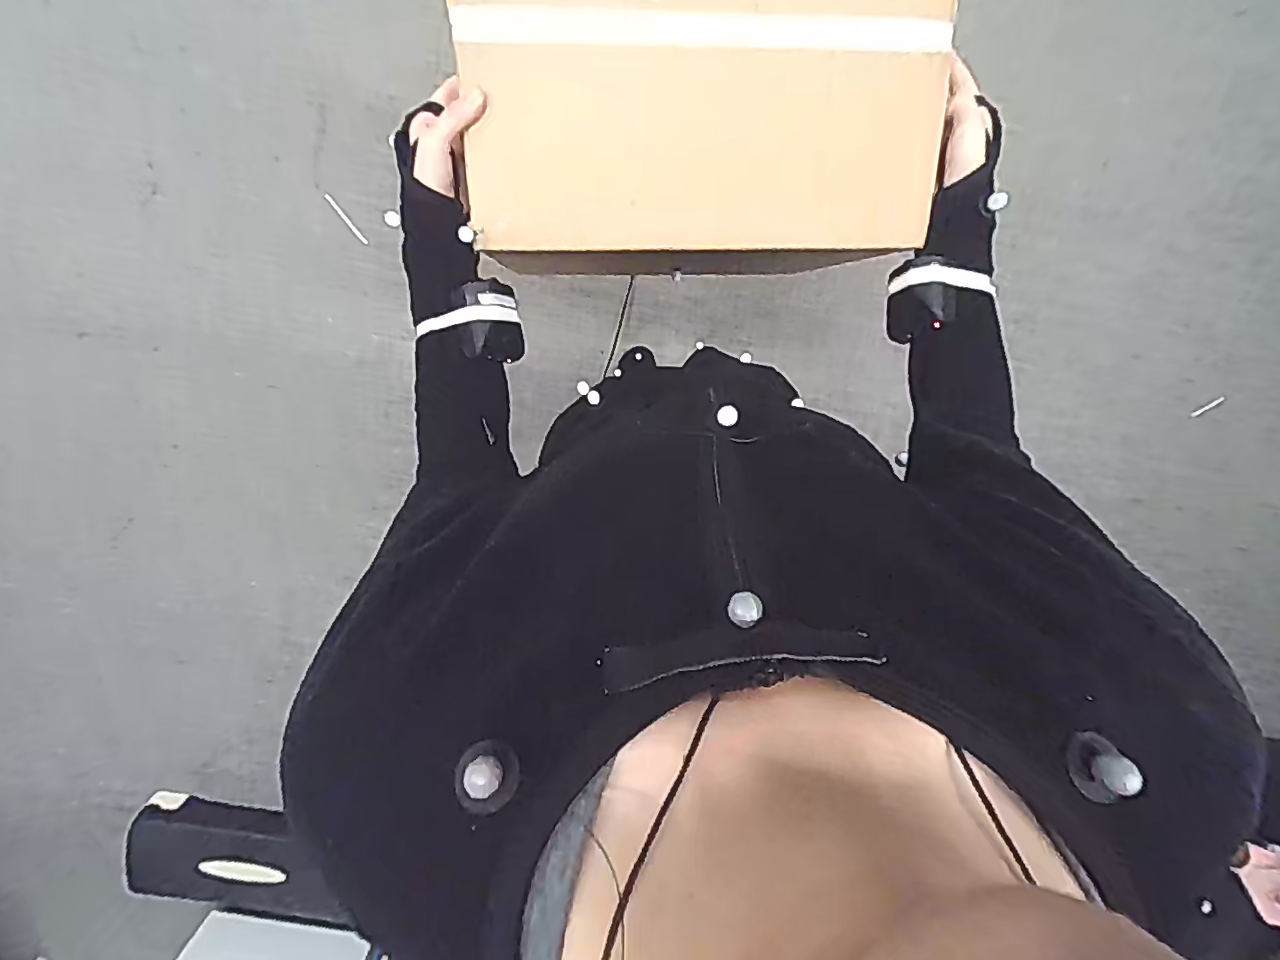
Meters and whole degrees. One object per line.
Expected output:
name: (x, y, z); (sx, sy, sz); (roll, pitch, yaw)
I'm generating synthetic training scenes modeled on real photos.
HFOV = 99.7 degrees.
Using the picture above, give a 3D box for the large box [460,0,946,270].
large box: (0.046, -0.405, 0.586); (0.408, 0.320, 0.320); (-2, 106, -4)
